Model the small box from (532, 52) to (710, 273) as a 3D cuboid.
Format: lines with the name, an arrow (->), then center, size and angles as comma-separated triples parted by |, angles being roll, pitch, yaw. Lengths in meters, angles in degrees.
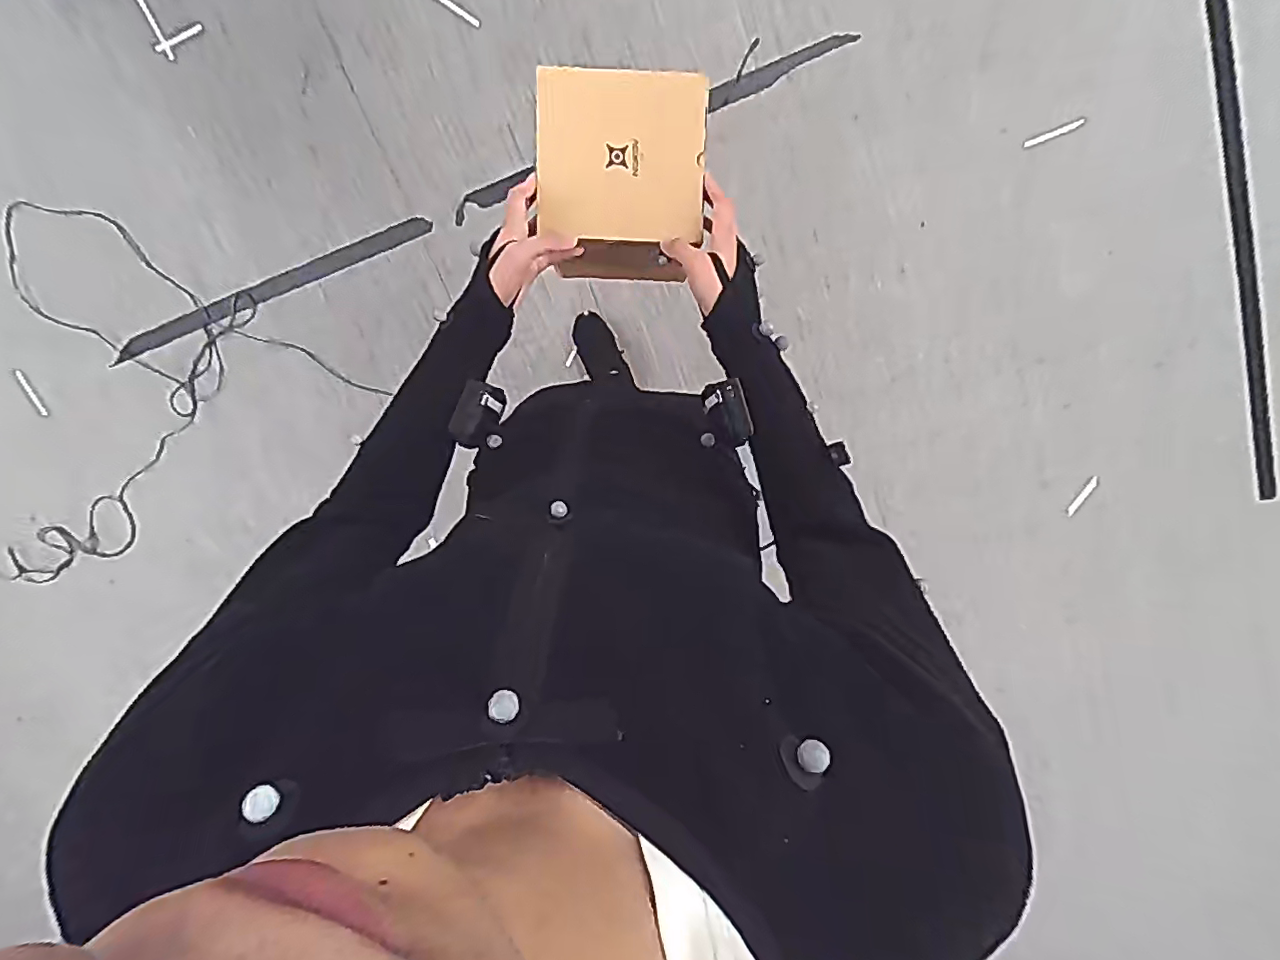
small box -> -0.021, -0.341, 0.614 | 0.179, 0.176, 0.168 | 0, 97, -2
